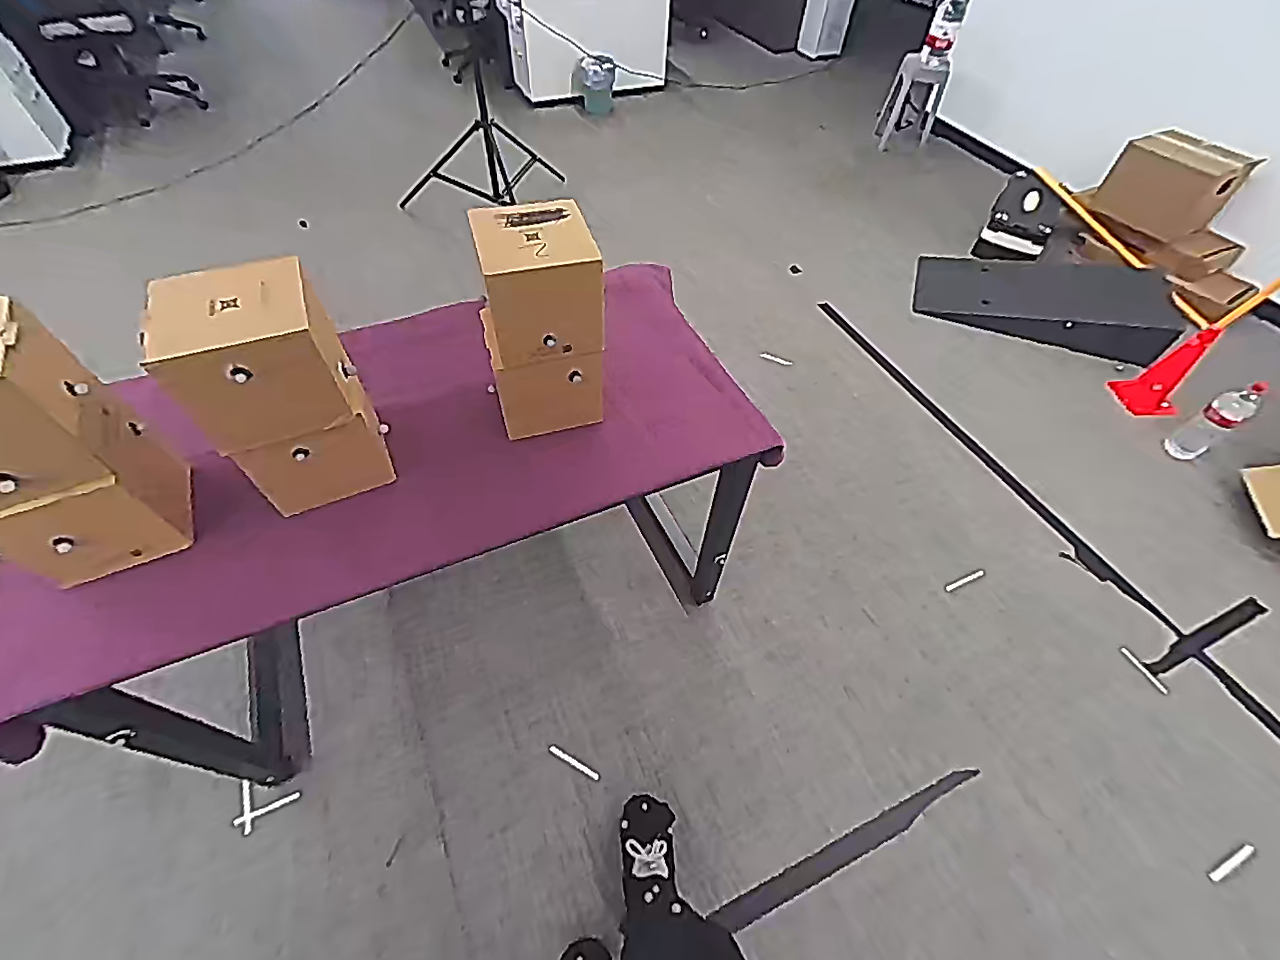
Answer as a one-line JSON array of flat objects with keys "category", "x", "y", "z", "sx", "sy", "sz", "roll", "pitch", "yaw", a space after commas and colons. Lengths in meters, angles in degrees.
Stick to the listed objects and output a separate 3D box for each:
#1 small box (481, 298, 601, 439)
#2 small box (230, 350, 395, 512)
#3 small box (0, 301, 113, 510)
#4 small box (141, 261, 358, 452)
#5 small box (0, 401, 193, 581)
[{"category": "small box", "x": -0.173, "y": -0.197, "z": 0.970, "sx": 0.179, "sy": 0.176, "sz": 0.168, "roll": -13, "pitch": 54, "yaw": -12}, {"category": "small box", "x": -0.519, "y": -0.074, "z": 0.862, "sx": 0.179, "sy": 0.176, "sz": 0.168, "roll": -20, "pitch": 57, "yaw": -18}, {"category": "small box", "x": -0.786, "y": -0.079, "z": 0.648, "sx": 0.179, "sy": 0.176, "sz": 0.168, "roll": -23, "pitch": 57, "yaw": -20}, {"category": "small box", "x": -0.508, "y": -0.161, "z": 0.725, "sx": 0.179, "sy": 0.176, "sz": 0.168, "roll": -18, "pitch": 57, "yaw": -17}, {"category": "small box", "x": -0.784, "y": 0.023, "z": 0.776, "sx": 0.168, "sy": 0.176, "sz": 0.179, "roll": -22, "pitch": 57, "yaw": -18}]
